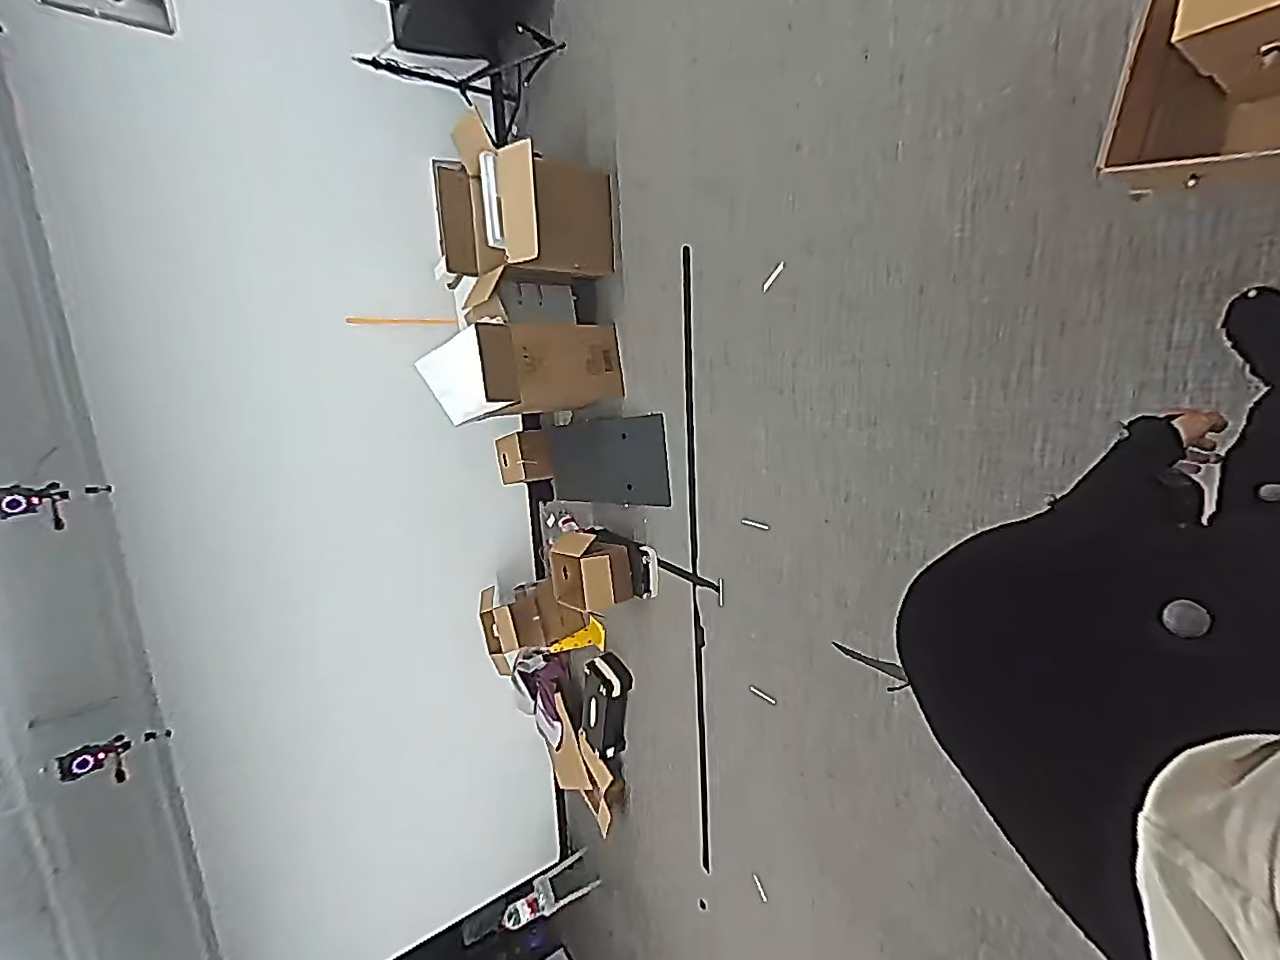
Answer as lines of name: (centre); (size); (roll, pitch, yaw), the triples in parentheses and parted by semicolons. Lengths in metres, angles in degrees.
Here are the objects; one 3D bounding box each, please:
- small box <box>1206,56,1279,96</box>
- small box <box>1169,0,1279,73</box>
small box: (0.869, -0.613, 0.673); (0.179, 0.176, 0.168); (22, 116, 51)
small box: (0.729, -0.594, 0.589); (0.168, 0.176, 0.179); (20, 114, 54)
